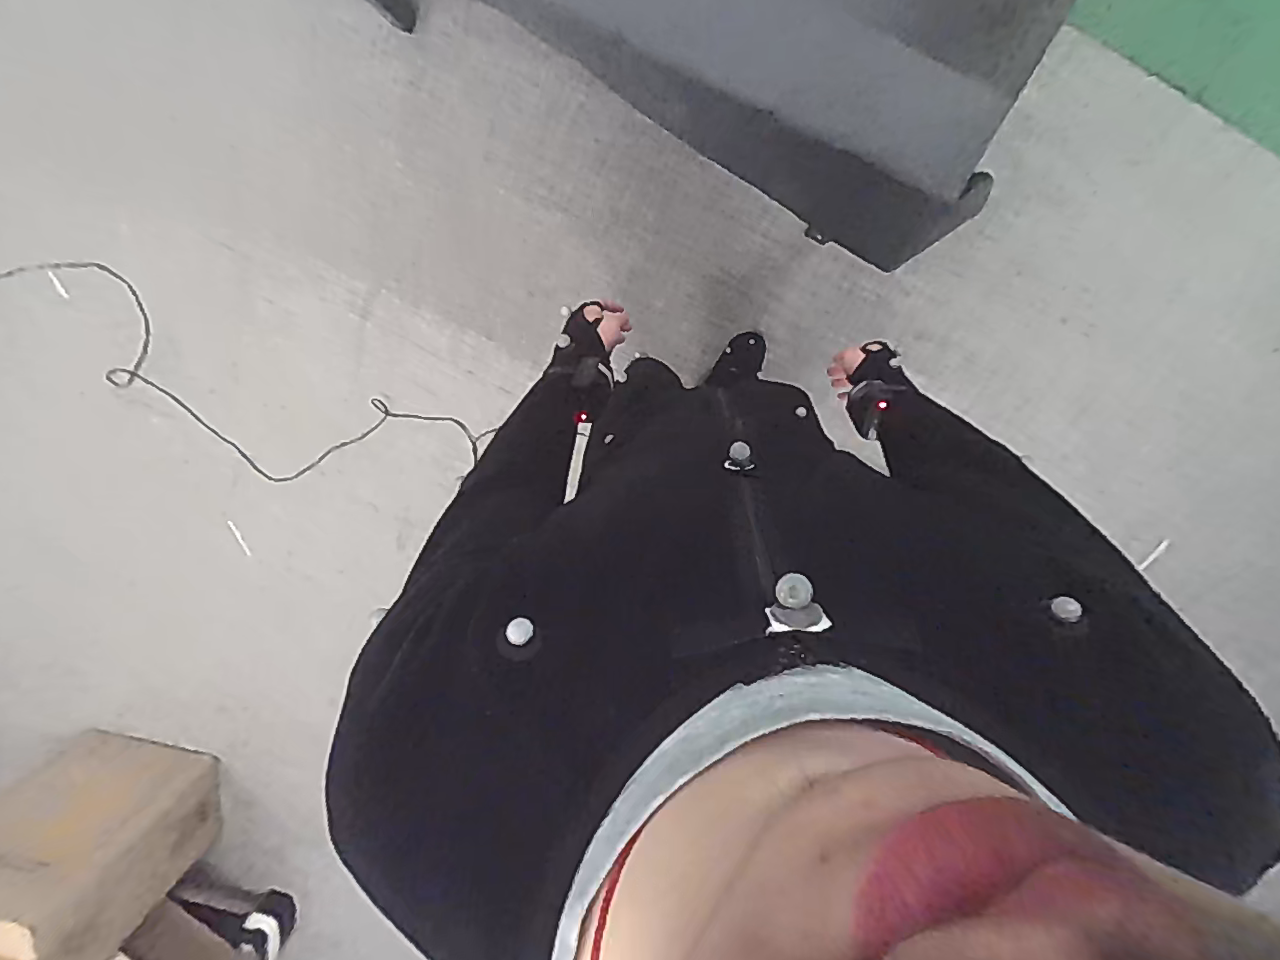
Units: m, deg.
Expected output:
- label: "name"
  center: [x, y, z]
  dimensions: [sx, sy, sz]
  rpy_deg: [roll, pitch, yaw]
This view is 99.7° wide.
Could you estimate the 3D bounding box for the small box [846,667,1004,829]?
- label: "small box"
  center: [0.507, 0.487, 0.999]
  dimensions: [0.168, 0.176, 0.179]
  rpy_deg: [25, 108, -6]
